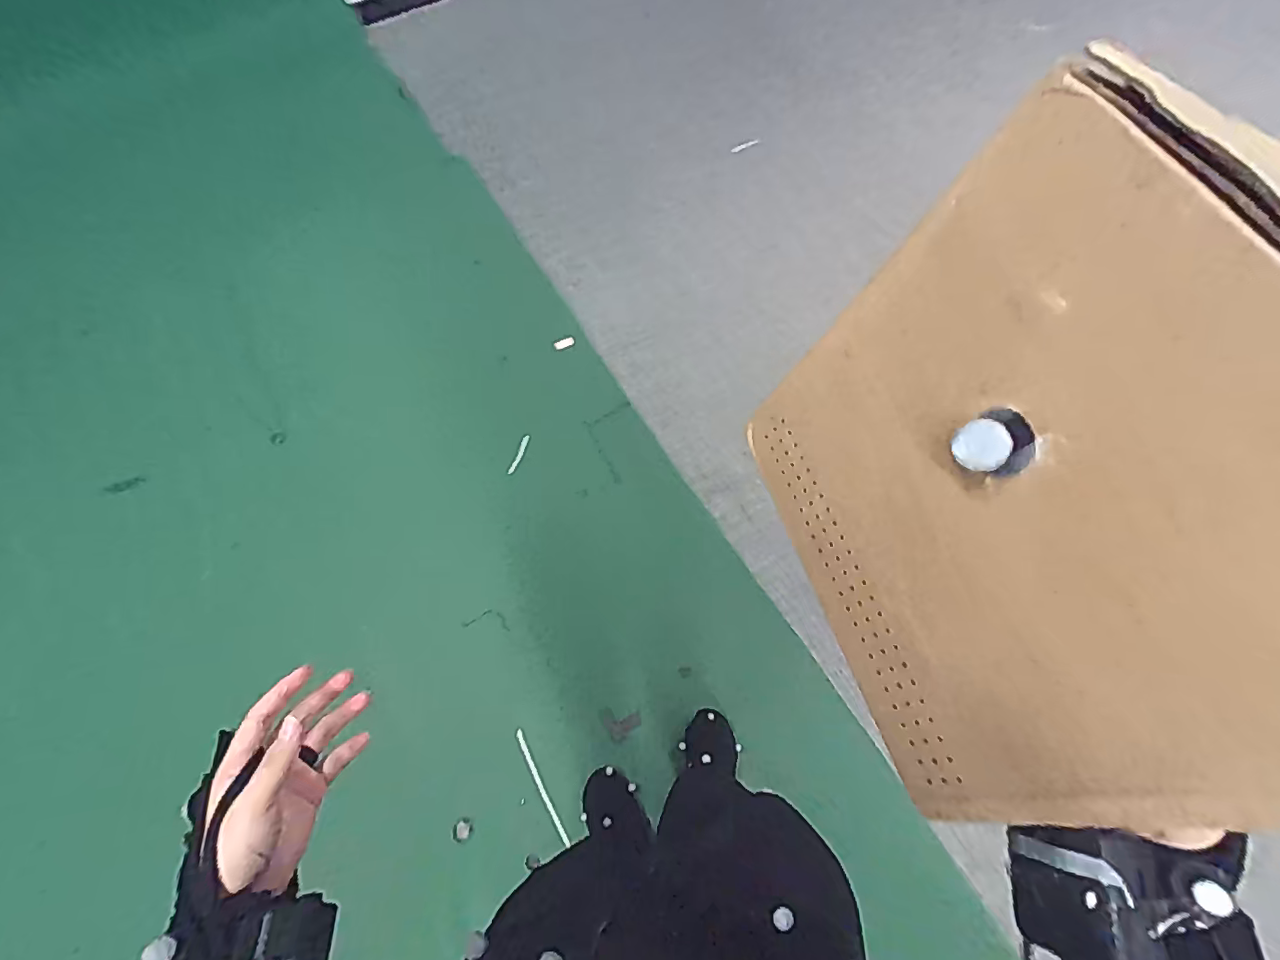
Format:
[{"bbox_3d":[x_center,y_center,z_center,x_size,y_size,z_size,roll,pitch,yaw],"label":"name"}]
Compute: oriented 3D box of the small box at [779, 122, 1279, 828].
[{"bbox_3d":[0.185,0.010,0.208,0.168,0.176,0.179,-8,64,-26],"label":"small box"}]
